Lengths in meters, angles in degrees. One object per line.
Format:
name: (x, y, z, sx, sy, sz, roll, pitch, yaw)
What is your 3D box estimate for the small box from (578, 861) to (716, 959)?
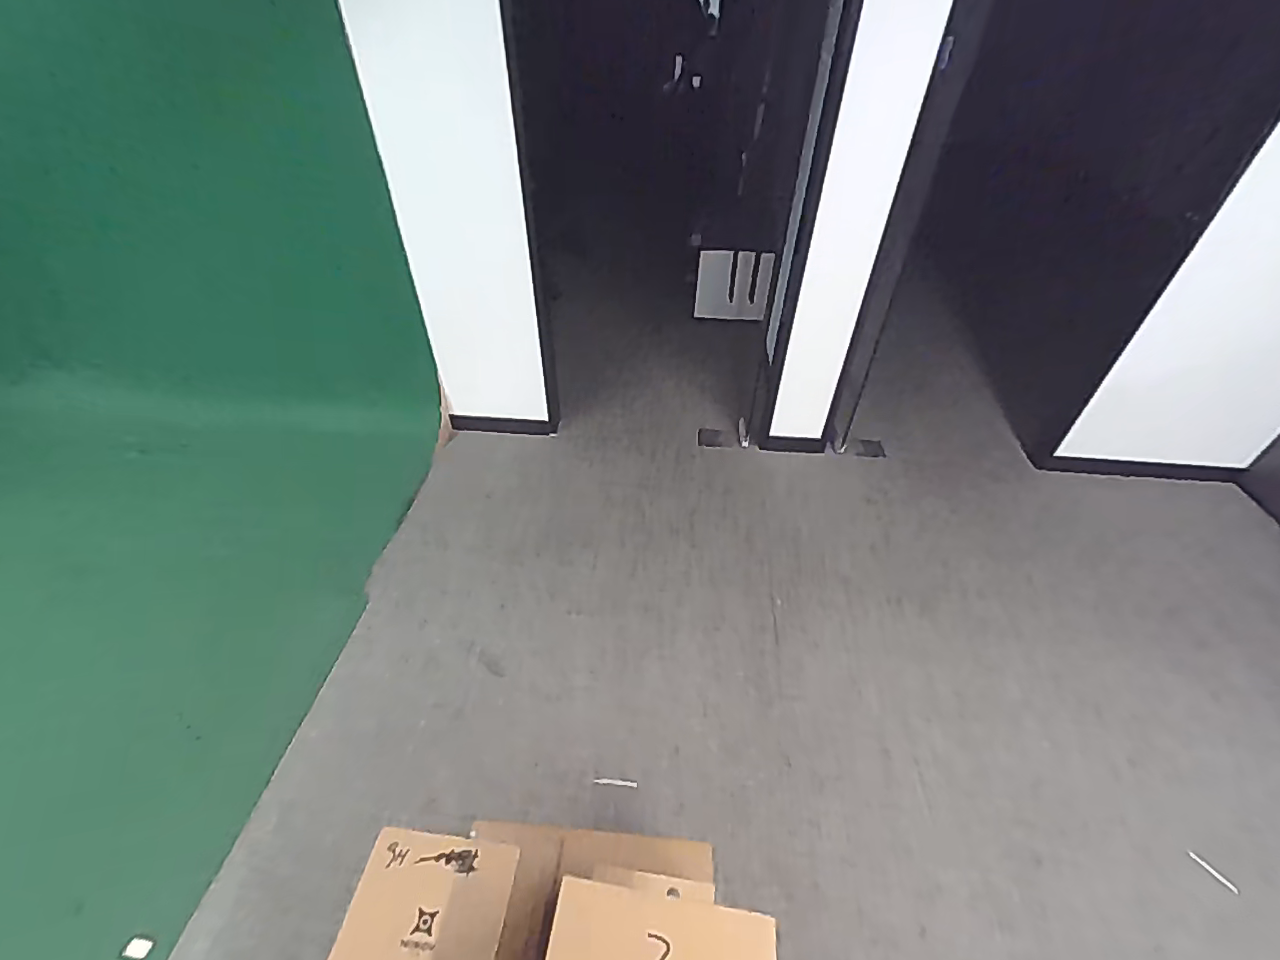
small box: (0.008, 0.646, 0.719, 0.168, 0.176, 0.179, 6, 42, 7)

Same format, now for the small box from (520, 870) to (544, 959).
small box: (-0.229, 0.638, 0.726, 0.168, 0.176, 0.179, 5, 44, 3)

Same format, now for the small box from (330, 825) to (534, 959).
small box: (-0.225, 0.521, 0.610, 0.168, 0.176, 0.179, 6, 44, 4)
